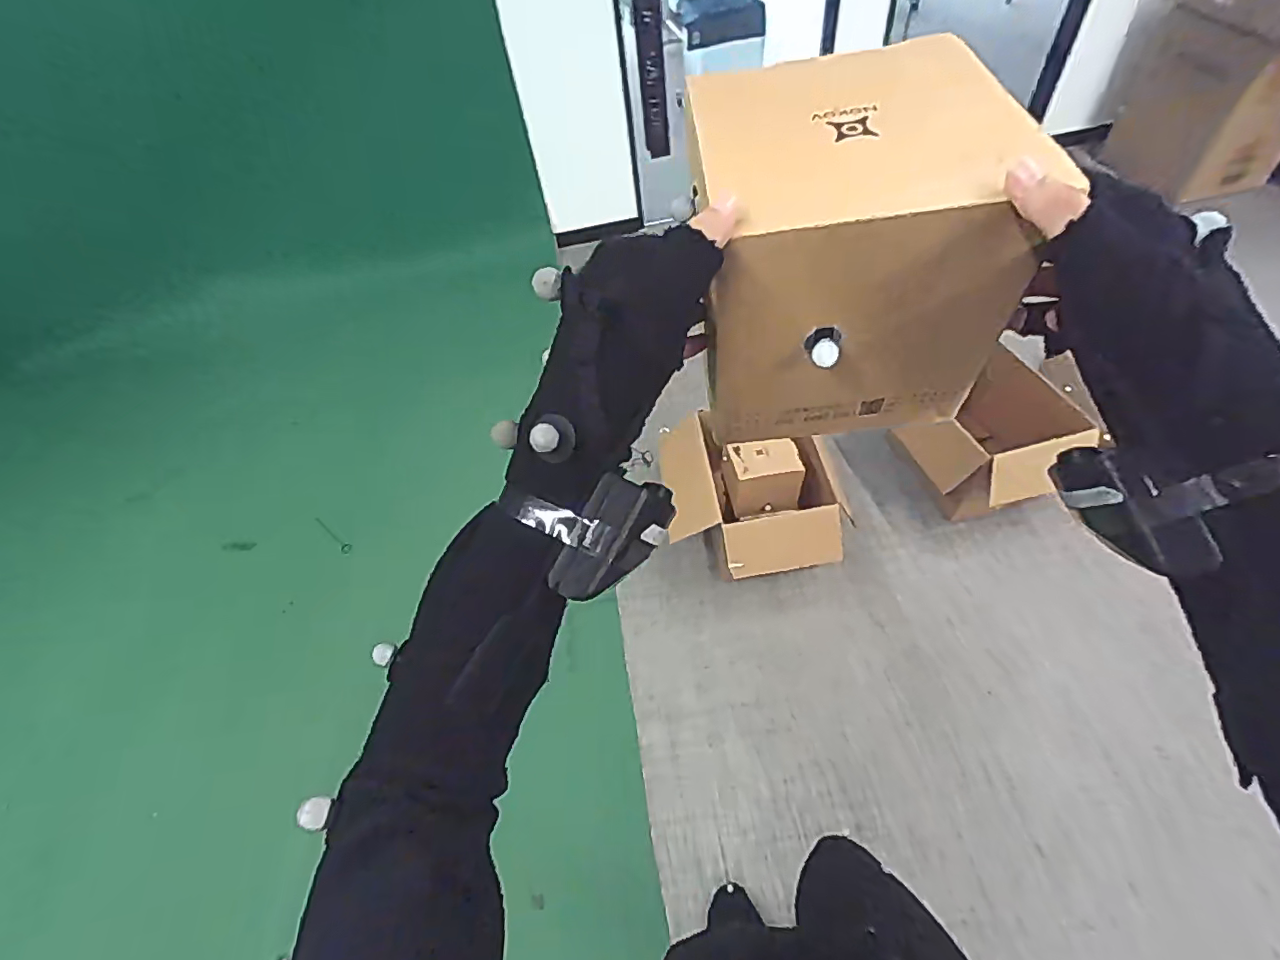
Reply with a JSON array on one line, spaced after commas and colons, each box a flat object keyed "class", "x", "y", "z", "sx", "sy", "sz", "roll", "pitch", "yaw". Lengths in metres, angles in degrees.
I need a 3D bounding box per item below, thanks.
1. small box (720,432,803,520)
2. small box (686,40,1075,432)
[{"class": "small box", "x": 0.327, "y": -0.010, "z": 1.491, "sx": 0.179, "sy": 0.176, "sz": 0.168, "roll": -8, "pitch": 48, "yaw": -3}, {"class": "small box", "x": 0.123, "y": -0.146, "z": 0.360, "sx": 0.168, "sy": 0.176, "sz": 0.179, "roll": -6, "pitch": 56, "yaw": 5}]
